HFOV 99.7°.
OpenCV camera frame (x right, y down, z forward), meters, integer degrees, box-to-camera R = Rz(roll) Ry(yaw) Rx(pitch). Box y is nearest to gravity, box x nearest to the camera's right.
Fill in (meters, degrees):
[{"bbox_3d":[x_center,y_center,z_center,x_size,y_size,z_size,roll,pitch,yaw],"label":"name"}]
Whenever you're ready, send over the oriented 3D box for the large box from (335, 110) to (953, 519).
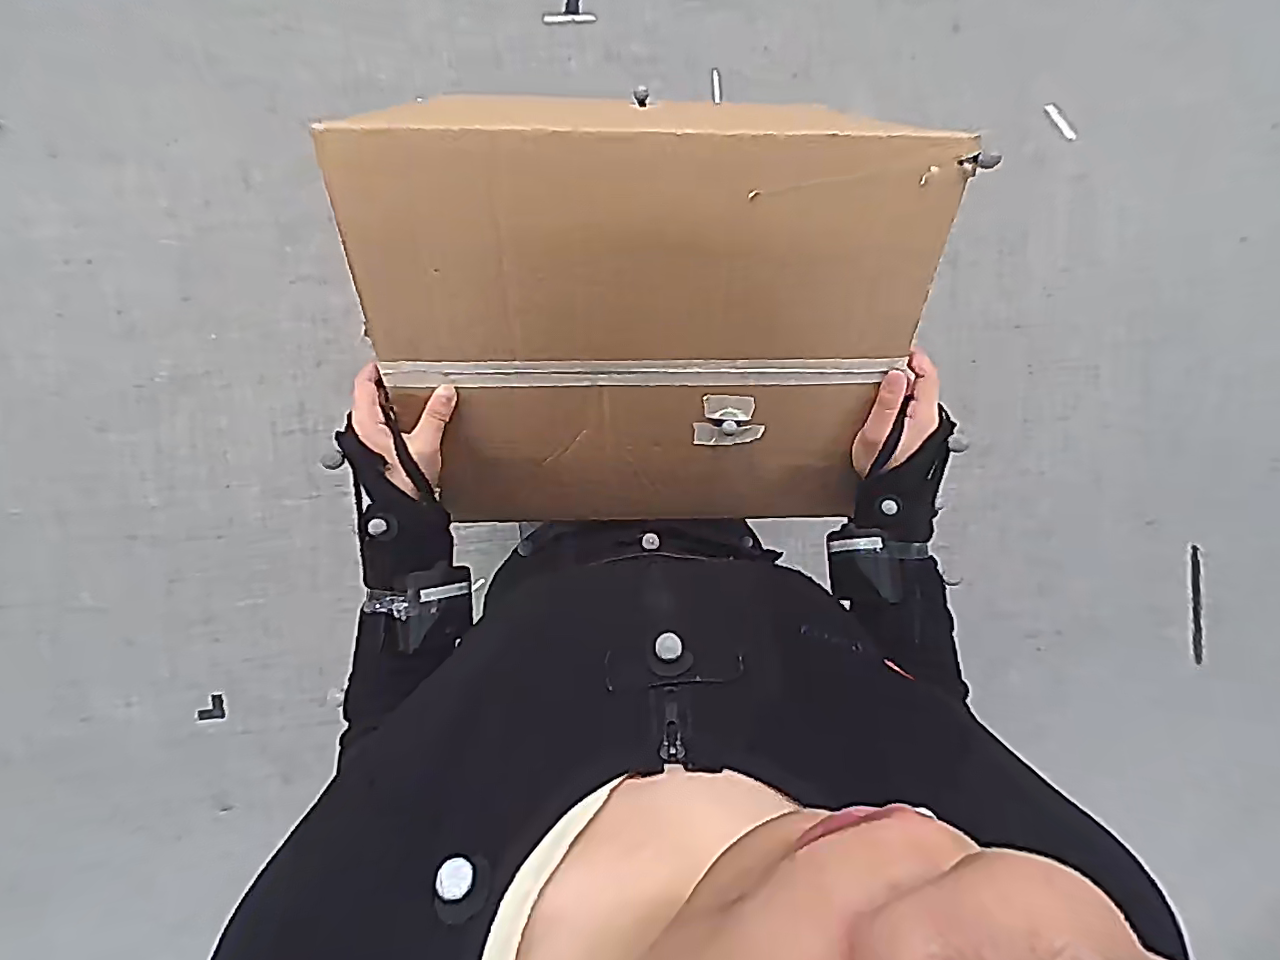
[{"bbox_3d":[-0.003,-0.182,0.548,0.408,0.320,0.320,-2,129,-3],"label":"large box"}]
